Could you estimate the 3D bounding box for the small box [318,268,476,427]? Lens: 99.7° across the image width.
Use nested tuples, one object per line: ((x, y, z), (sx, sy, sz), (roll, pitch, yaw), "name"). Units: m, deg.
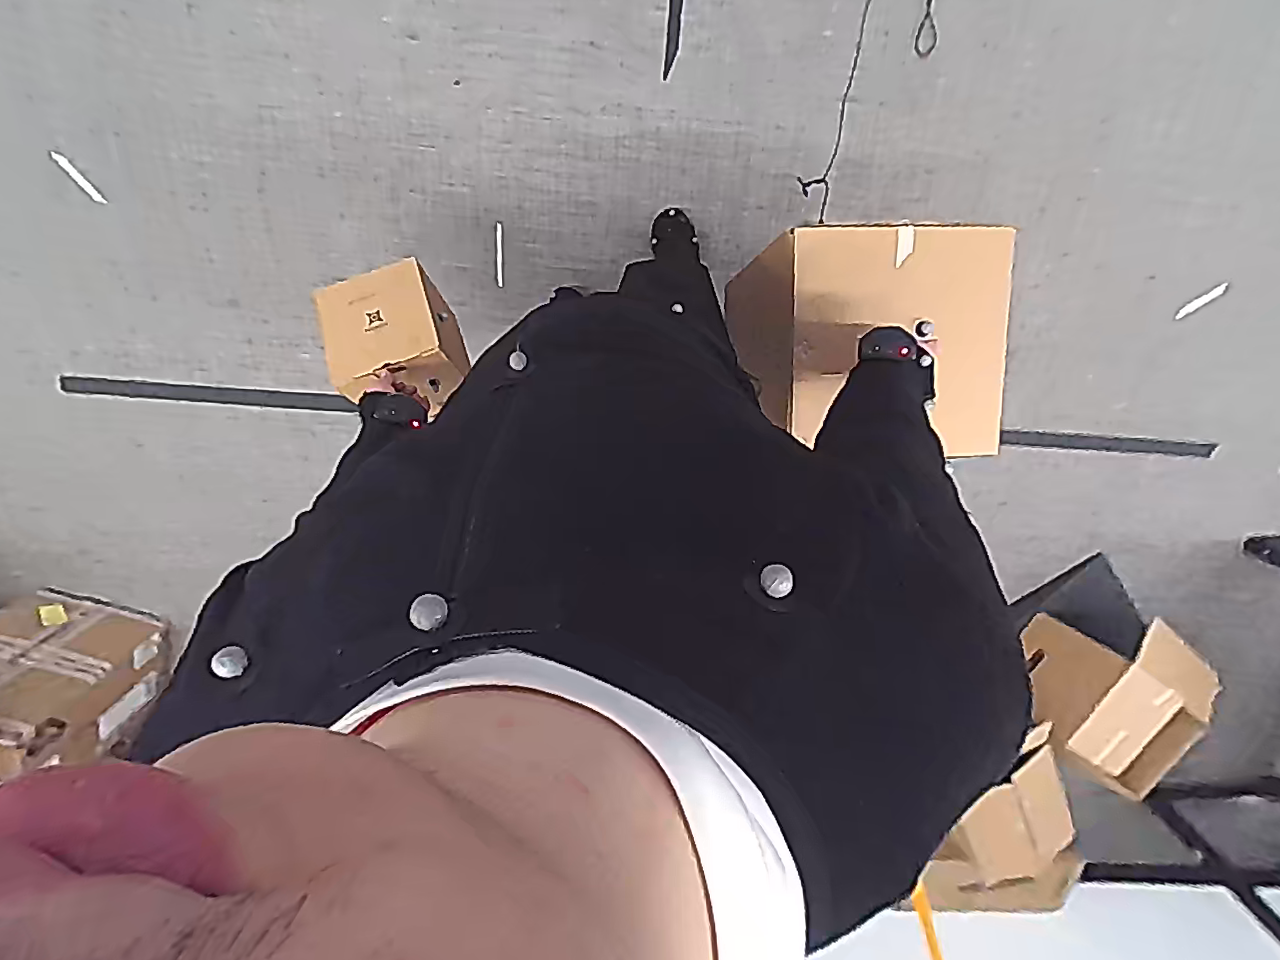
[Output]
((-0.388, -0.204, 0.889), (0.168, 0.176, 0.179), (-20, 71, -3), "small box")
